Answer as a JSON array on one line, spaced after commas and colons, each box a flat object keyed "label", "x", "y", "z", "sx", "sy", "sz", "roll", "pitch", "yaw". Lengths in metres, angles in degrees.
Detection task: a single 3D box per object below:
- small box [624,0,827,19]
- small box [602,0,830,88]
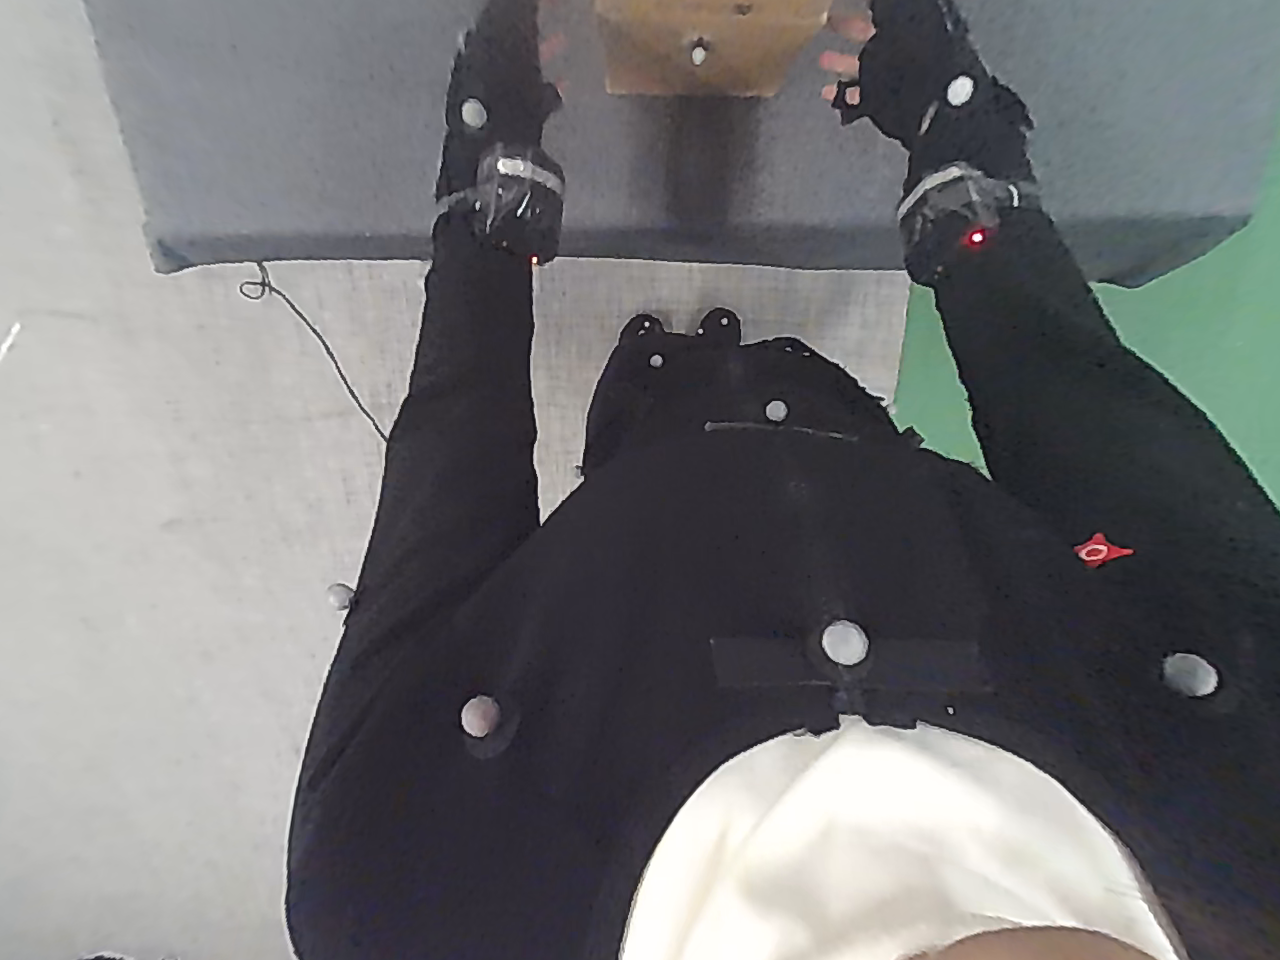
[{"label": "small box", "x": 0.061, "y": -0.409, "z": 0.308, "sx": 0.168, "sy": 0.176, "sz": 0.179, "roll": -1, "pitch": 110, "yaw": 0}, {"label": "small box", "x": 0.060, "y": -0.458, "z": 0.461, "sx": 0.179, "sy": 0.176, "sz": 0.168, "roll": 0, "pitch": 110, "yaw": 0}]
